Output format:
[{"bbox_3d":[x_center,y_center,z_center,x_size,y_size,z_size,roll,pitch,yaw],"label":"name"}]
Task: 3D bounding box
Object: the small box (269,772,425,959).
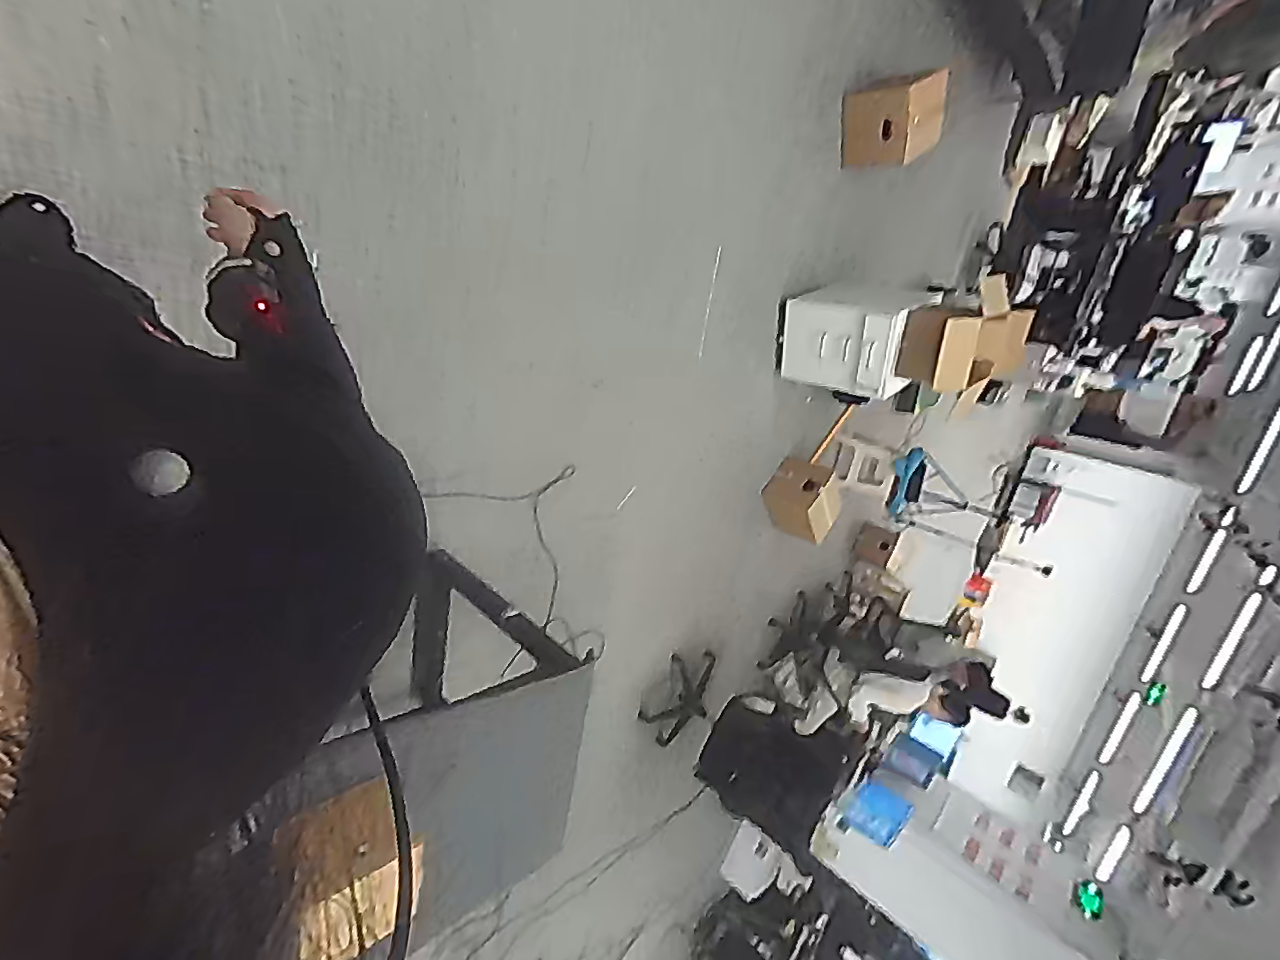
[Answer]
[{"bbox_3d":[-0.476,0.623,0.879,0.179,0.176,0.168,-8,115,-47],"label":"small box"}]
